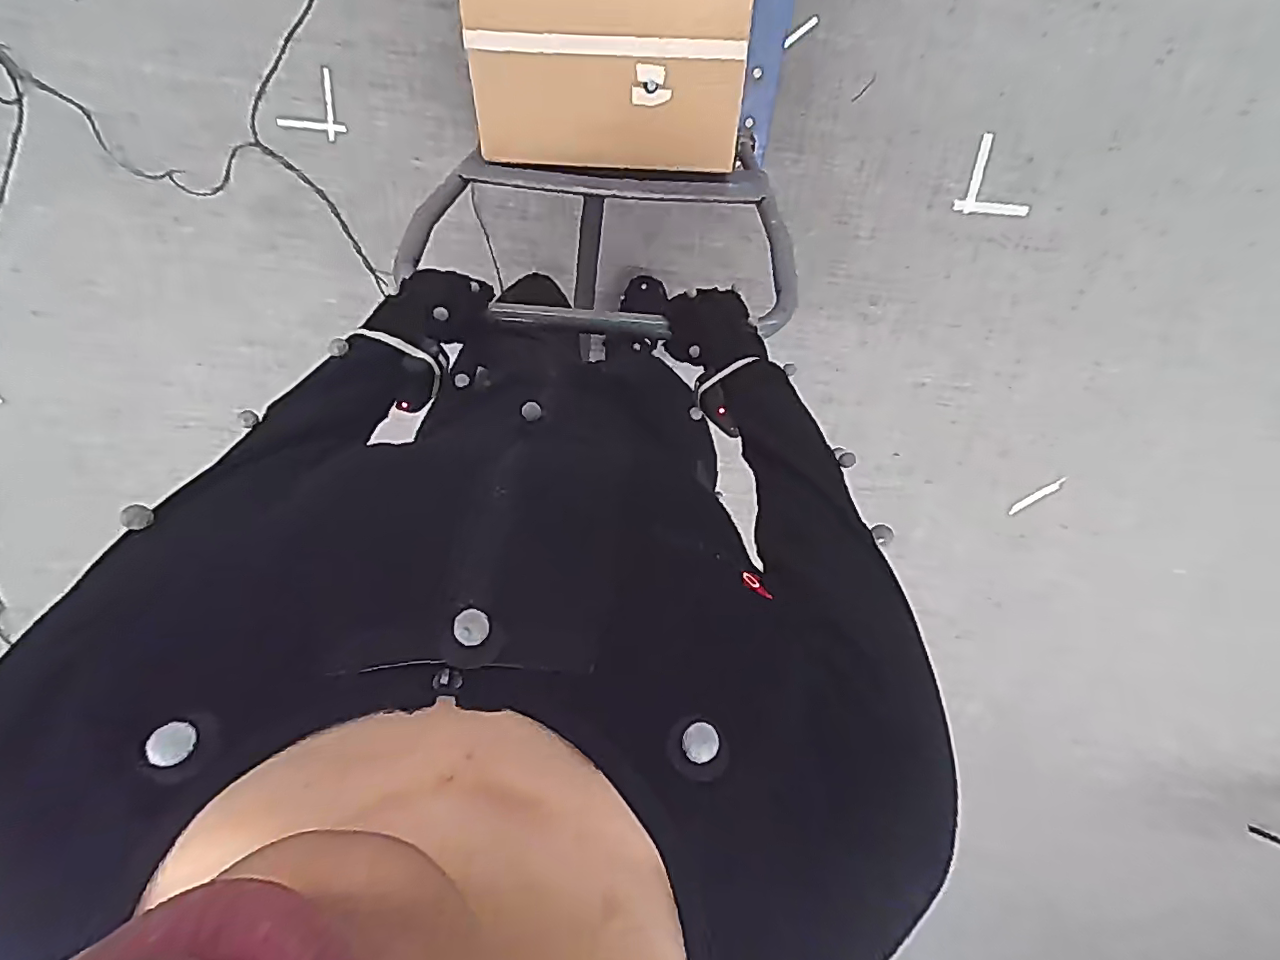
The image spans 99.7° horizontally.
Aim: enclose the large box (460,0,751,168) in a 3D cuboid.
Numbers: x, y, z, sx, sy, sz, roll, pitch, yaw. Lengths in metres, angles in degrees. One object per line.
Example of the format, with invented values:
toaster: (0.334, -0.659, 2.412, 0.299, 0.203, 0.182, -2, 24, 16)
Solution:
large box: (-0.047, -0.716, 0.876, 0.408, 0.320, 0.320, 2, 132, 0)
